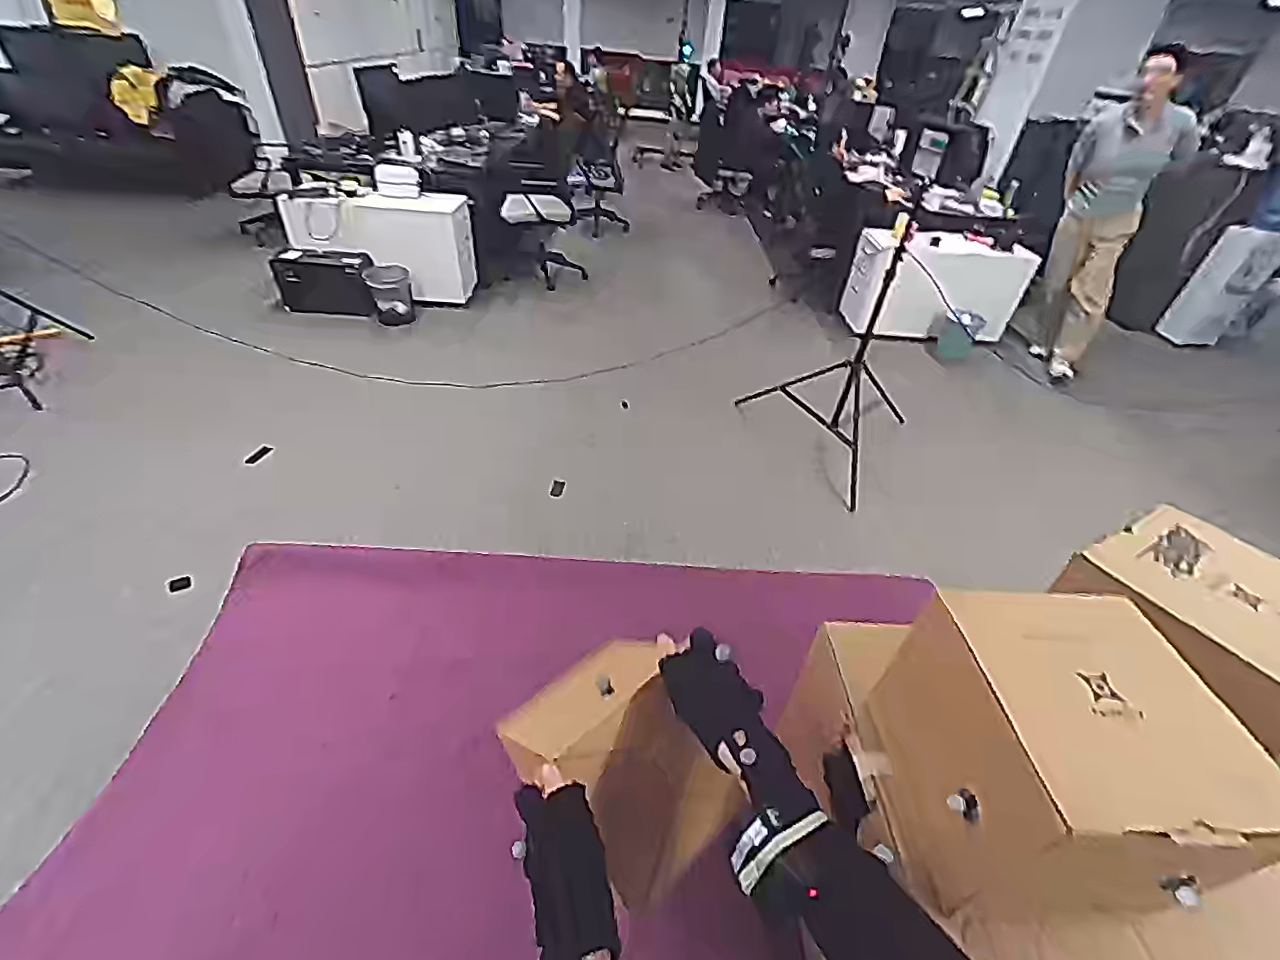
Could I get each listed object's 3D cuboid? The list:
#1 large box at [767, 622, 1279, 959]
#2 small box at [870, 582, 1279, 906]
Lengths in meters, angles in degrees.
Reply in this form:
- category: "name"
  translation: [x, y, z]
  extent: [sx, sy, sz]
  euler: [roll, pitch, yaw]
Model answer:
- category: "large box"
  translation: [0.392, 0.378, 0.590]
  extent: [0.408, 0.320, 0.320]
  euler: [3, 40, -3]
- category: "small box"
  translation: [0.306, 0.201, 0.414]
  extent: [0.168, 0.176, 0.179]
  euler: [3, 38, -4]
